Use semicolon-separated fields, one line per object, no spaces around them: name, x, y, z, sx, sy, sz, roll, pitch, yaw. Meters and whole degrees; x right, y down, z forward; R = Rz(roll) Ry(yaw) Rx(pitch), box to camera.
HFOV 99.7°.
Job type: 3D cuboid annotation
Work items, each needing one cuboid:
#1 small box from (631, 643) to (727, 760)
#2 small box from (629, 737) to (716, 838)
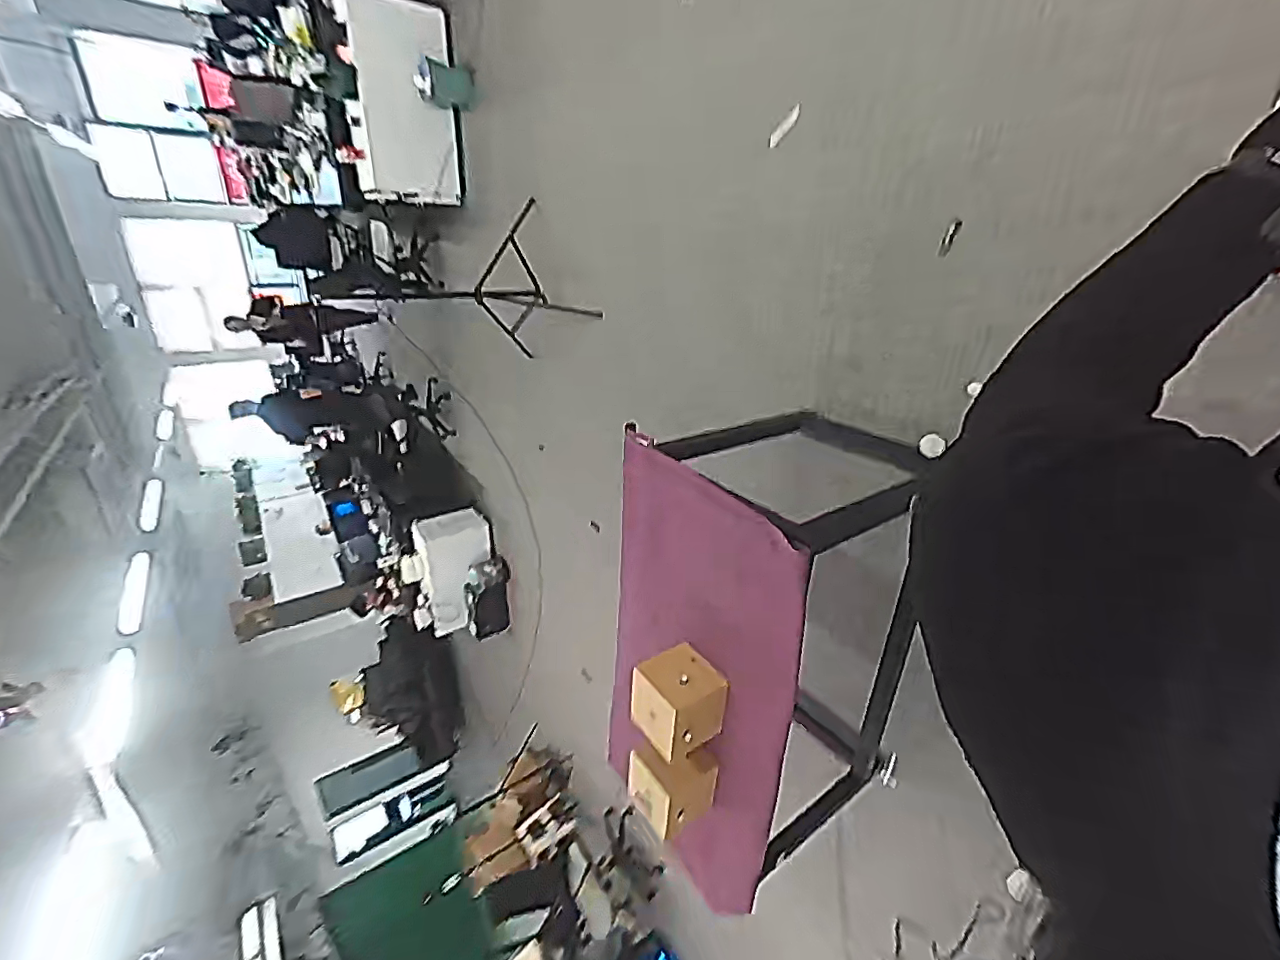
small box;0.097;0.538;1.340;0.168;0.176;0.179;33;128;47
small box;0.087;0.799;1.454;0.168;0.176;0.179;32;127;46
